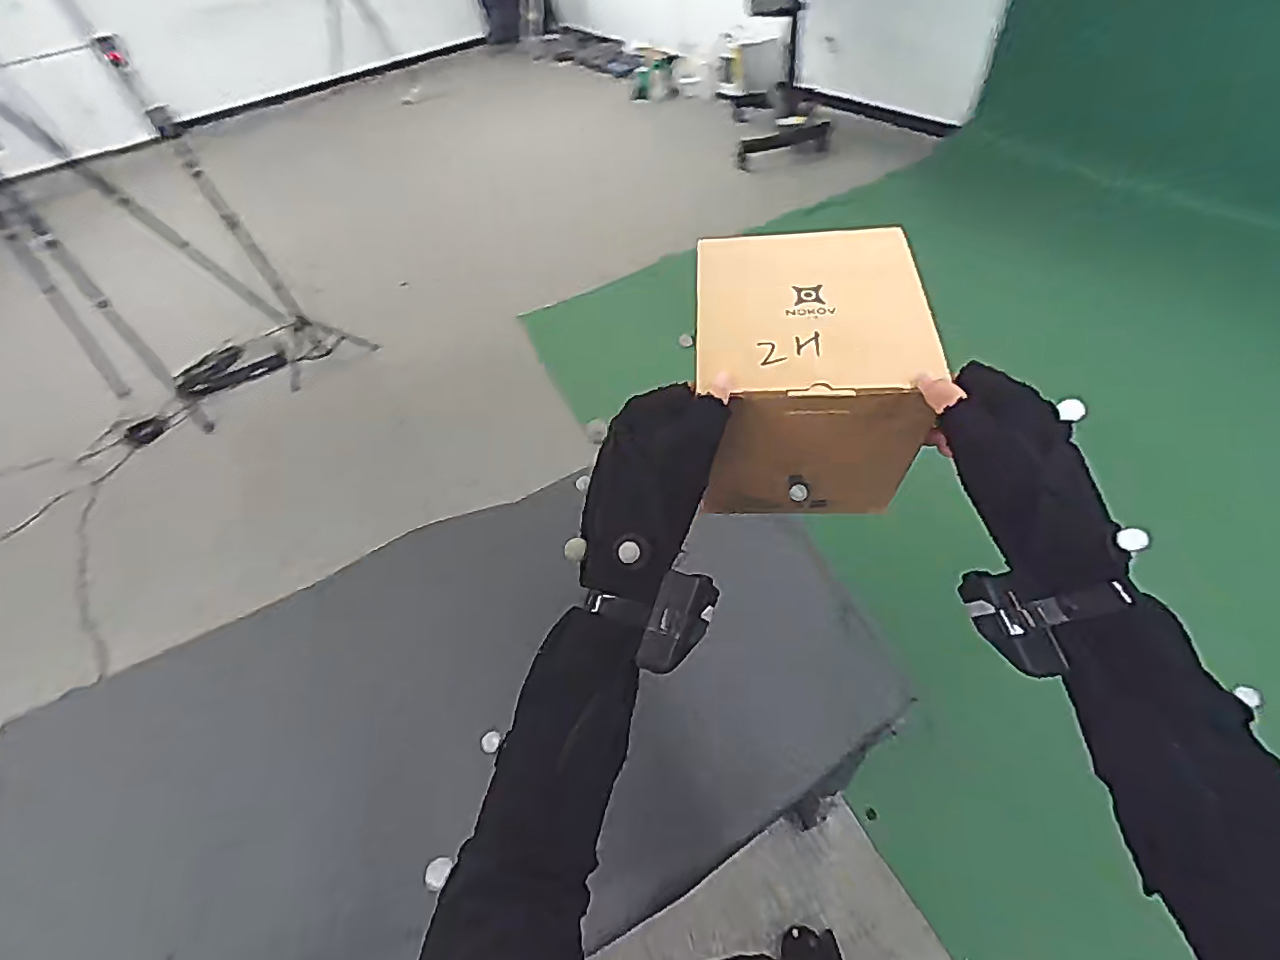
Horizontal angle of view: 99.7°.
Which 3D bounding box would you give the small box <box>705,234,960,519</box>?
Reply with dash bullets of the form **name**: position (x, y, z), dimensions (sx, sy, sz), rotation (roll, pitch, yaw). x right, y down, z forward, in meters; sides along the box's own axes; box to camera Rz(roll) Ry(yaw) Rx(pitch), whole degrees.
- **small box**: position (0.142, -0.084, 0.469), dimensions (0.168, 0.176, 0.179), rotation (0, 57, 9)
